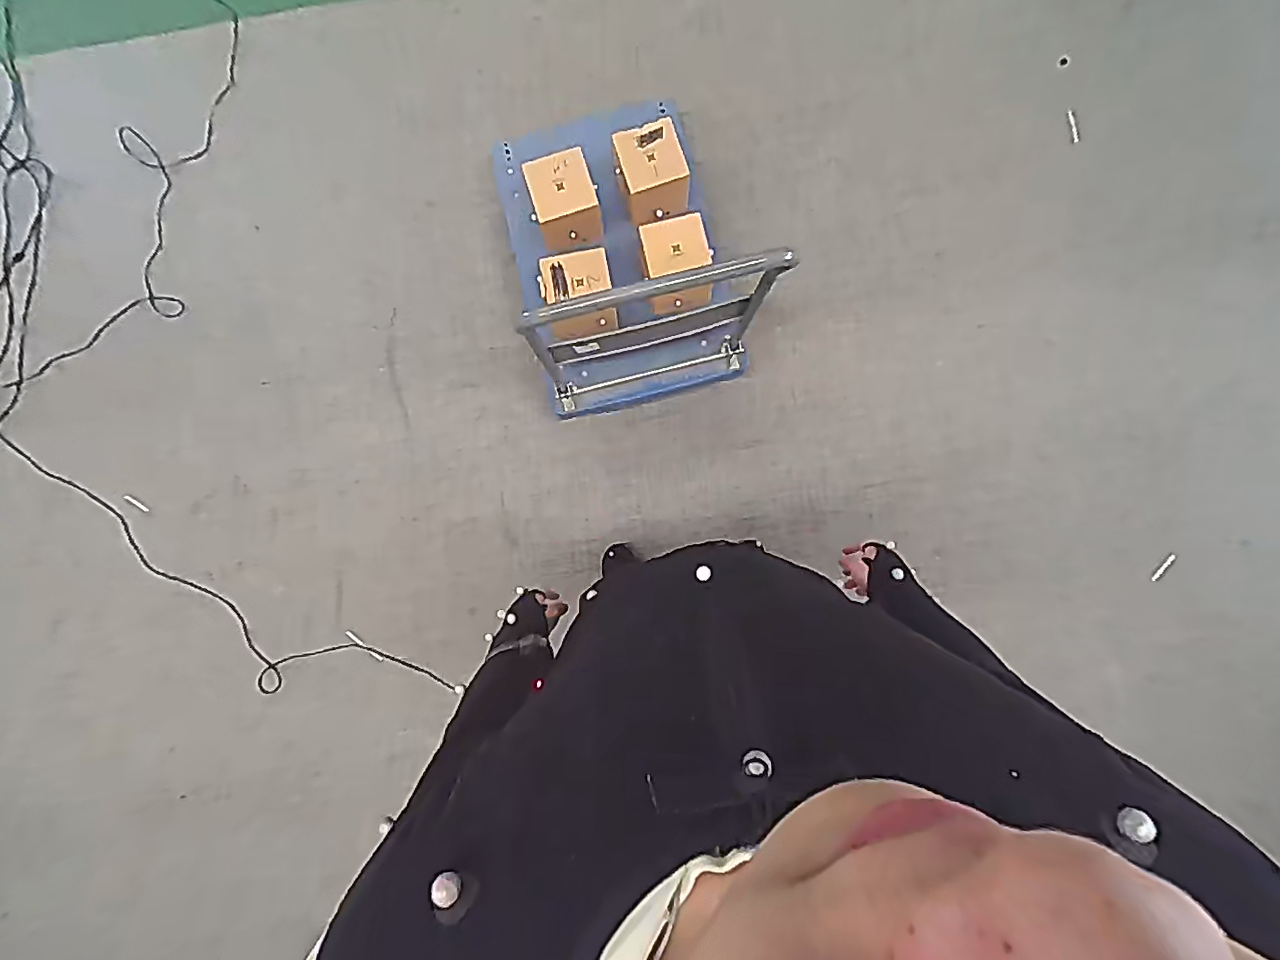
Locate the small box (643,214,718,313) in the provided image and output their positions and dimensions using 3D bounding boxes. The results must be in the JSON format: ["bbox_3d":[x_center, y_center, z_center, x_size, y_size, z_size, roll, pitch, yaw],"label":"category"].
[{"bbox_3d":[0.104,-0.581,1.469,0.168,0.176,0.179,-13,85,0],"label":"small box"}]

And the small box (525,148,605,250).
[{"bbox_3d":[-0.200,-0.764,1.496,0.168,0.176,0.179,-17,84,0],"label":"small box"}]

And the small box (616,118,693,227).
[{"bbox_3d":[0.039,-0.842,1.494,0.168,0.176,0.179,-17,85,1],"label":"small box"}]
